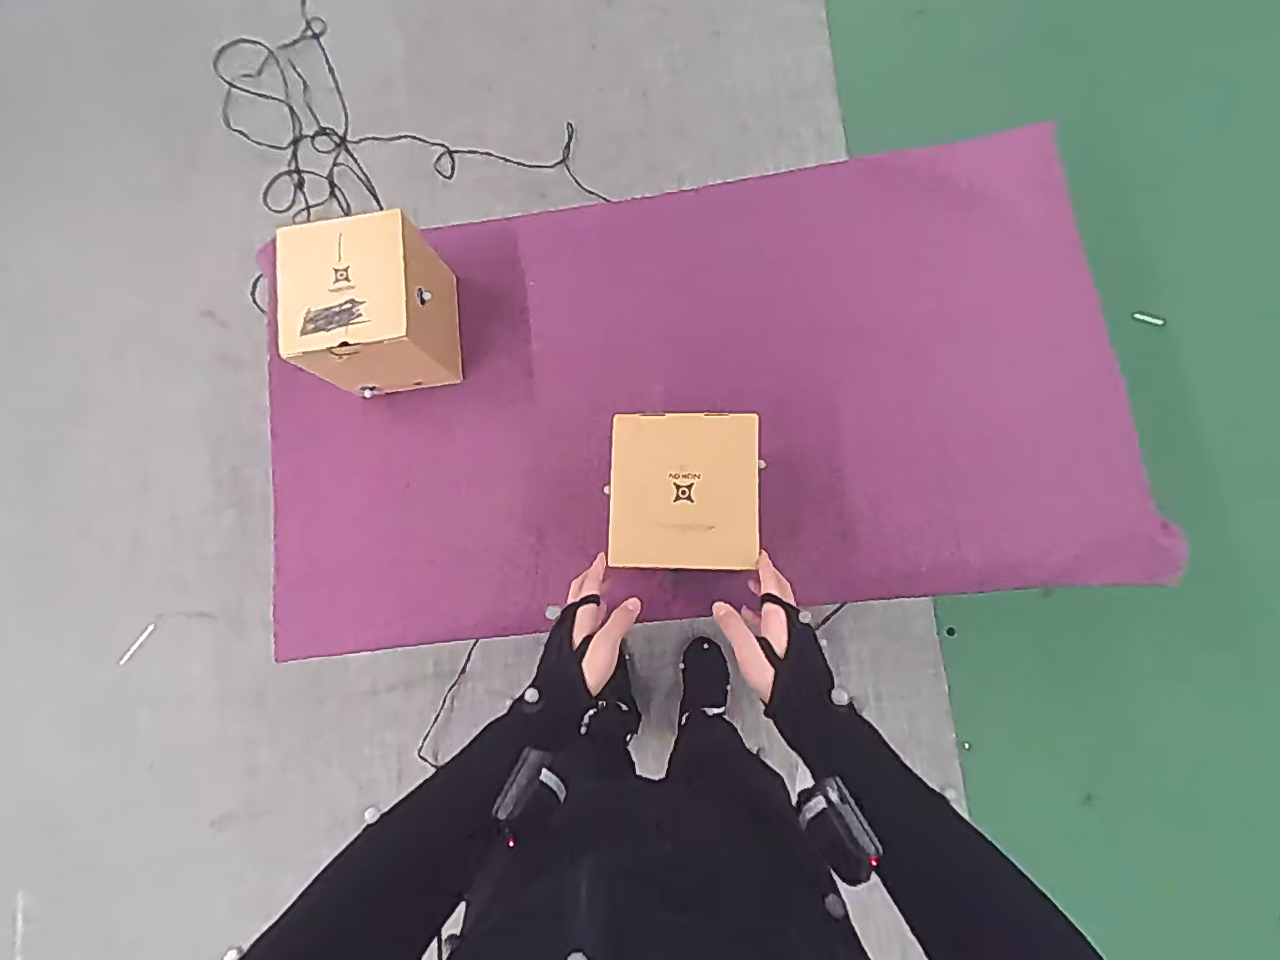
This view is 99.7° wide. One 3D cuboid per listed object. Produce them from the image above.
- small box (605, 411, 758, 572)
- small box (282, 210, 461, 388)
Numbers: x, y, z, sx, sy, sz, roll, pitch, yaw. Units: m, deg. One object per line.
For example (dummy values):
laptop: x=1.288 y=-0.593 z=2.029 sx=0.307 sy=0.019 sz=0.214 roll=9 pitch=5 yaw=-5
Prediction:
small box: x=0.055 y=0.022 z=0.677 sx=0.168 sy=0.176 sz=0.179 roll=1 pitch=81 yaw=7
small box: x=-0.361 y=-0.236 z=0.753 sx=0.168 sy=0.176 sz=0.179 roll=-7 pitch=80 yaw=3
